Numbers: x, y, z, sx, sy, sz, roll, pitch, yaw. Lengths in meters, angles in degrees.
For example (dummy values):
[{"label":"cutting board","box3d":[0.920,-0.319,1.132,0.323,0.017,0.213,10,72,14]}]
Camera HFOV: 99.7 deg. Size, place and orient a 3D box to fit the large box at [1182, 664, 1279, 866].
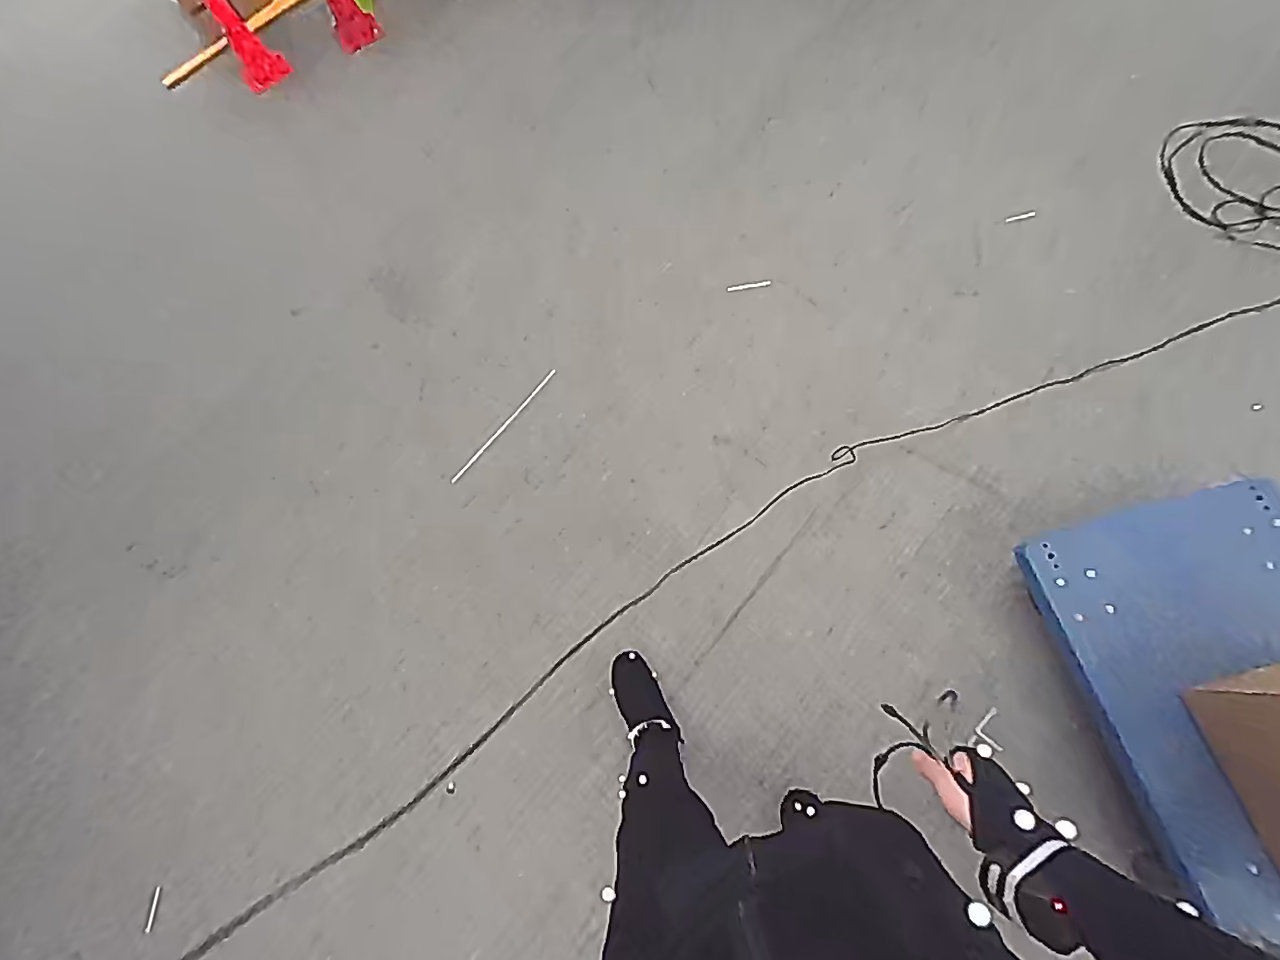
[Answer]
[{"label":"large box","box3d":[1.288,0.525,0.905,0.320,0.320,0.408,-16,69,1]}]
